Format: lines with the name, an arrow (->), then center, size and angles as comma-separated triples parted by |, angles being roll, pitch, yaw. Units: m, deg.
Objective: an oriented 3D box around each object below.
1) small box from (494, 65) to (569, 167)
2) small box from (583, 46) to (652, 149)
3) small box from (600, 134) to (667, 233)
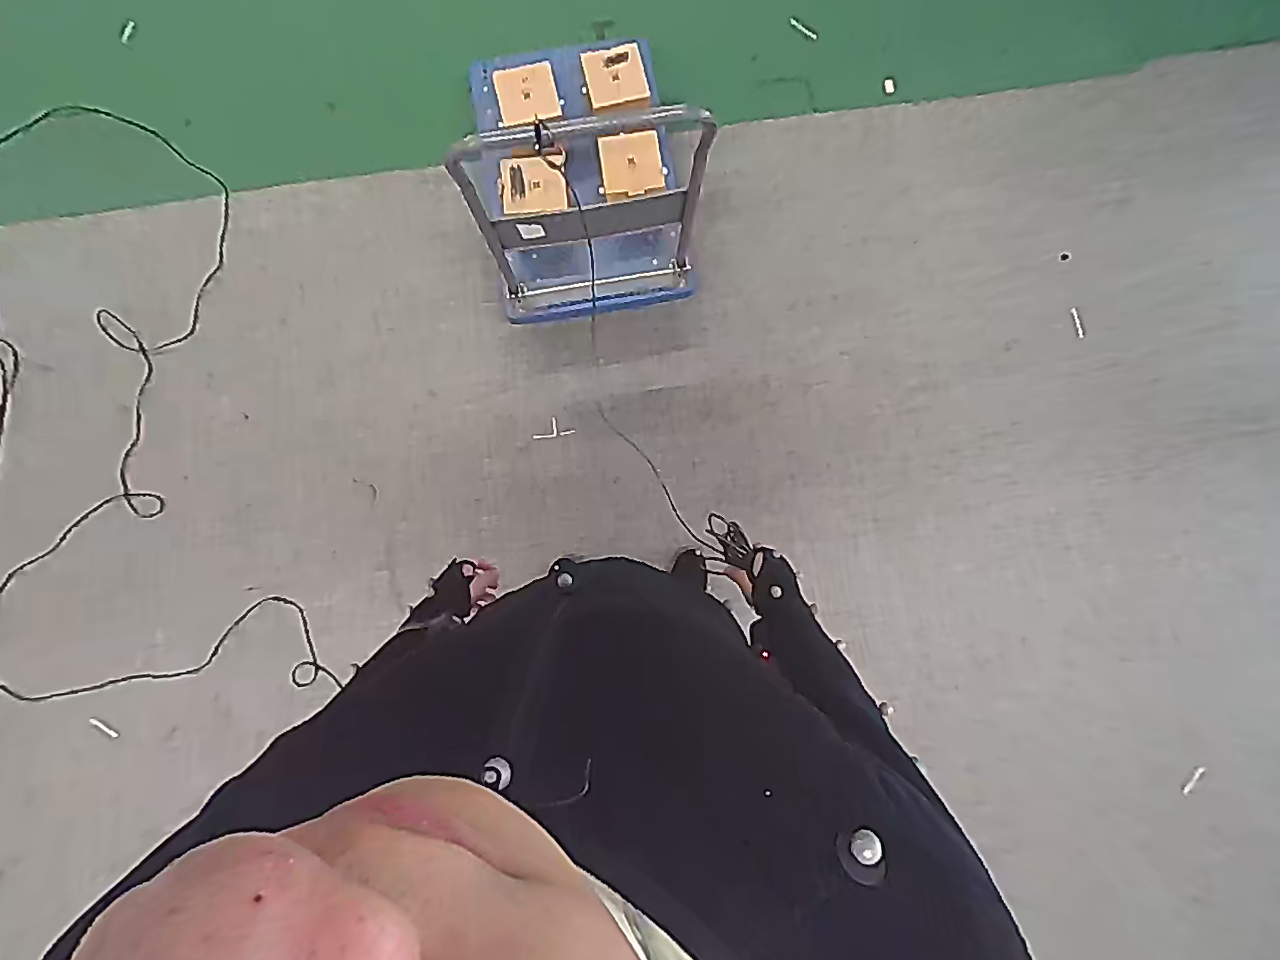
small box -> -0.309, -1.043, 1.568 | 0.168, 0.176, 0.179 | -13, 82, -3
small box -> -0.064, -1.103, 1.576 | 0.168, 0.176, 0.179 | -13, 83, -1
small box -> -0.019, -0.839, 1.539 | 0.168, 0.176, 0.179 | -9, 83, -1
